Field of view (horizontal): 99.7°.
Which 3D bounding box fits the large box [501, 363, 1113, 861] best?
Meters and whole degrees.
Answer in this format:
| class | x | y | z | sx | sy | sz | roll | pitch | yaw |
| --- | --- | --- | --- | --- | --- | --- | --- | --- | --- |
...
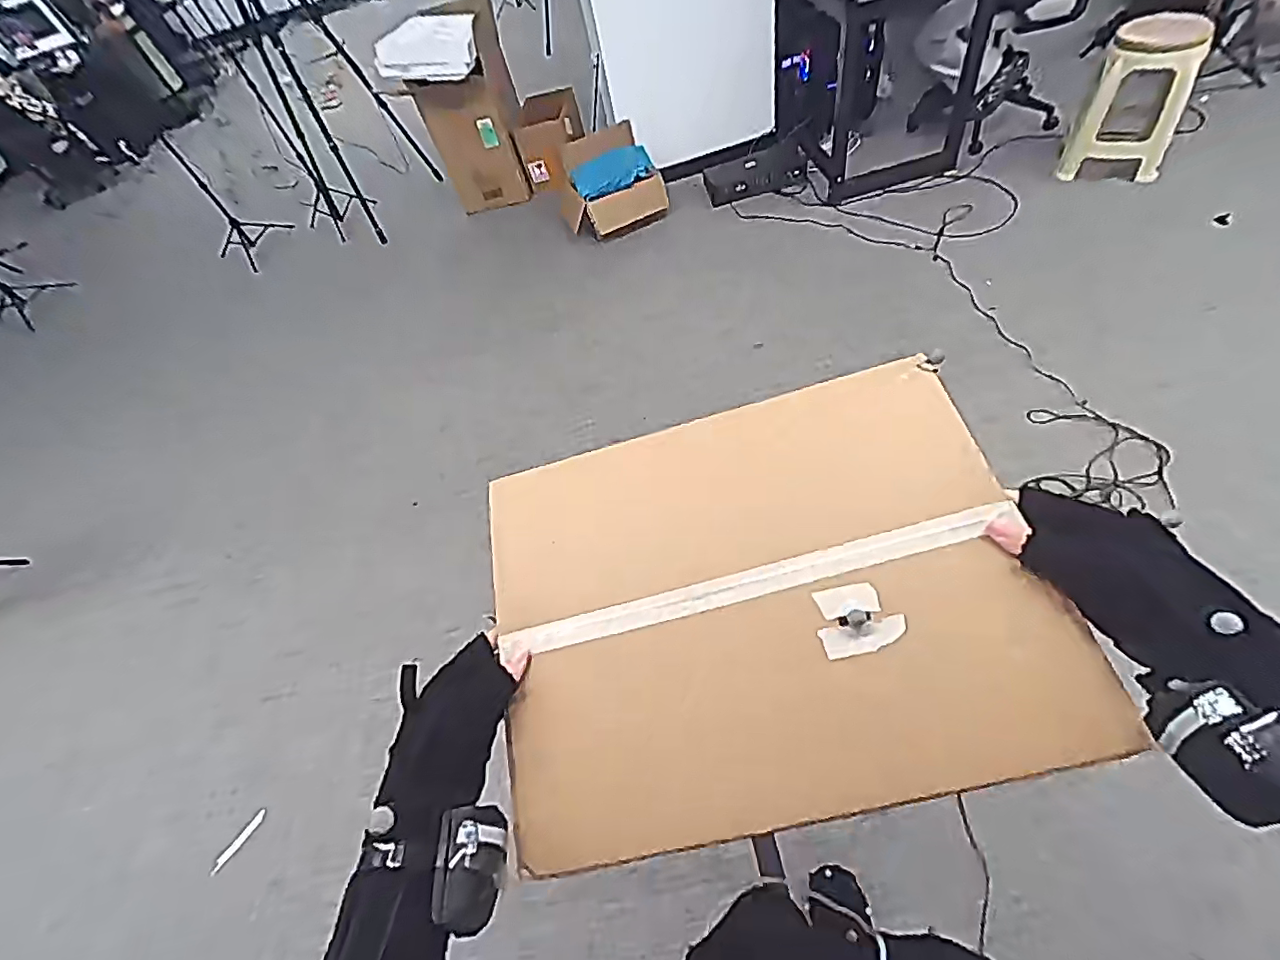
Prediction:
| class | x | y | z | sx | sy | sz | roll | pitch | yaw |
| --- | --- | --- | --- | --- | --- | --- | --- | --- | --- |
| large box | 0.115 | 0.146 | 0.562 | 0.408 | 0.320 | 0.320 | -17 | 62 | 6 |
